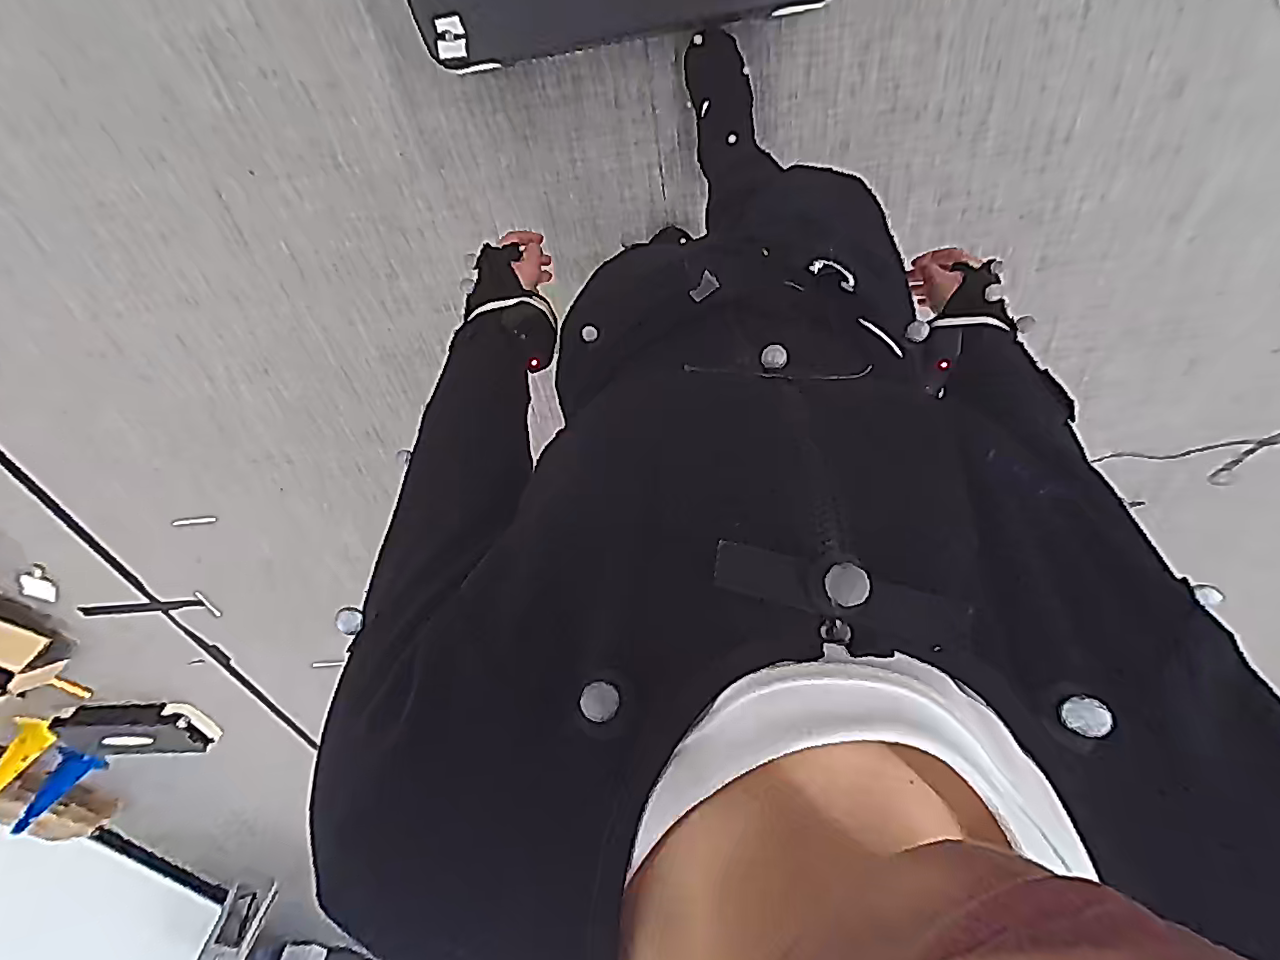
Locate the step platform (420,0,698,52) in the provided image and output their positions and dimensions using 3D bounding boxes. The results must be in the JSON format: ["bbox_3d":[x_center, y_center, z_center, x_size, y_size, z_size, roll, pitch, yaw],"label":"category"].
[{"bbox_3d":[-0.020,-0.869,0.801,0.684,0.204,0.286,-5,127,7],"label":"step platform"}]
